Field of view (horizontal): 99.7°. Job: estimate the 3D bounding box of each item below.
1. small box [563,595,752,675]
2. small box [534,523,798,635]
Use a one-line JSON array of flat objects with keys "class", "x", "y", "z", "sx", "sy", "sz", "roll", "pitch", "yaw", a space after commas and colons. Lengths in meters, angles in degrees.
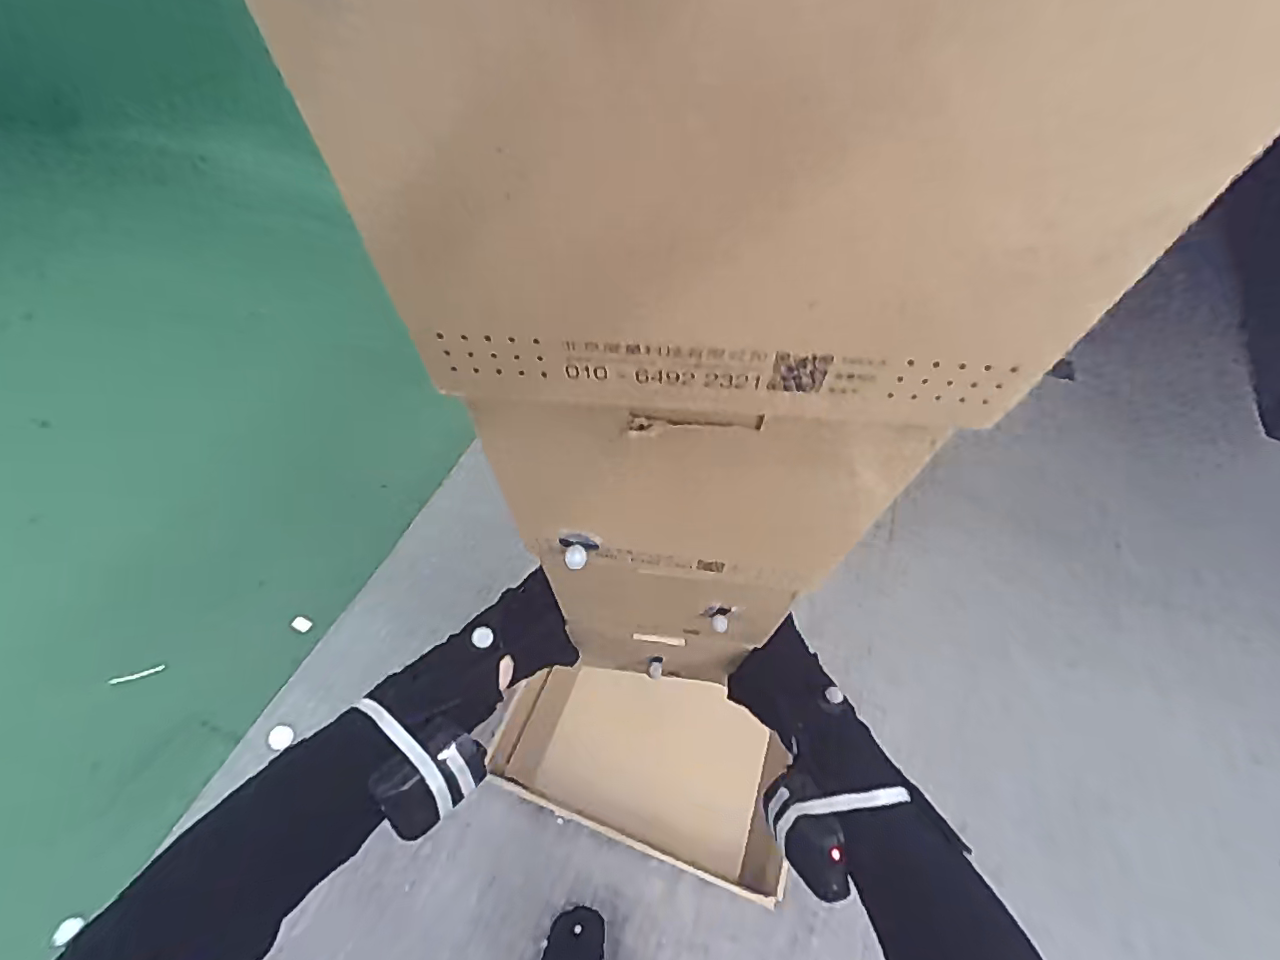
[{"class": "small box", "x": 0.022, "y": 0.098, "z": 0.565, "sx": 0.168, "sy": 0.176, "sz": 0.179, "roll": 3, "pitch": 59, "yaw": 2}, {"class": "small box", "x": 0.031, "y": 0.007, "z": 0.407, "sx": 0.168, "sy": 0.176, "sz": 0.179, "roll": 5, "pitch": 59, "yaw": 3}]
